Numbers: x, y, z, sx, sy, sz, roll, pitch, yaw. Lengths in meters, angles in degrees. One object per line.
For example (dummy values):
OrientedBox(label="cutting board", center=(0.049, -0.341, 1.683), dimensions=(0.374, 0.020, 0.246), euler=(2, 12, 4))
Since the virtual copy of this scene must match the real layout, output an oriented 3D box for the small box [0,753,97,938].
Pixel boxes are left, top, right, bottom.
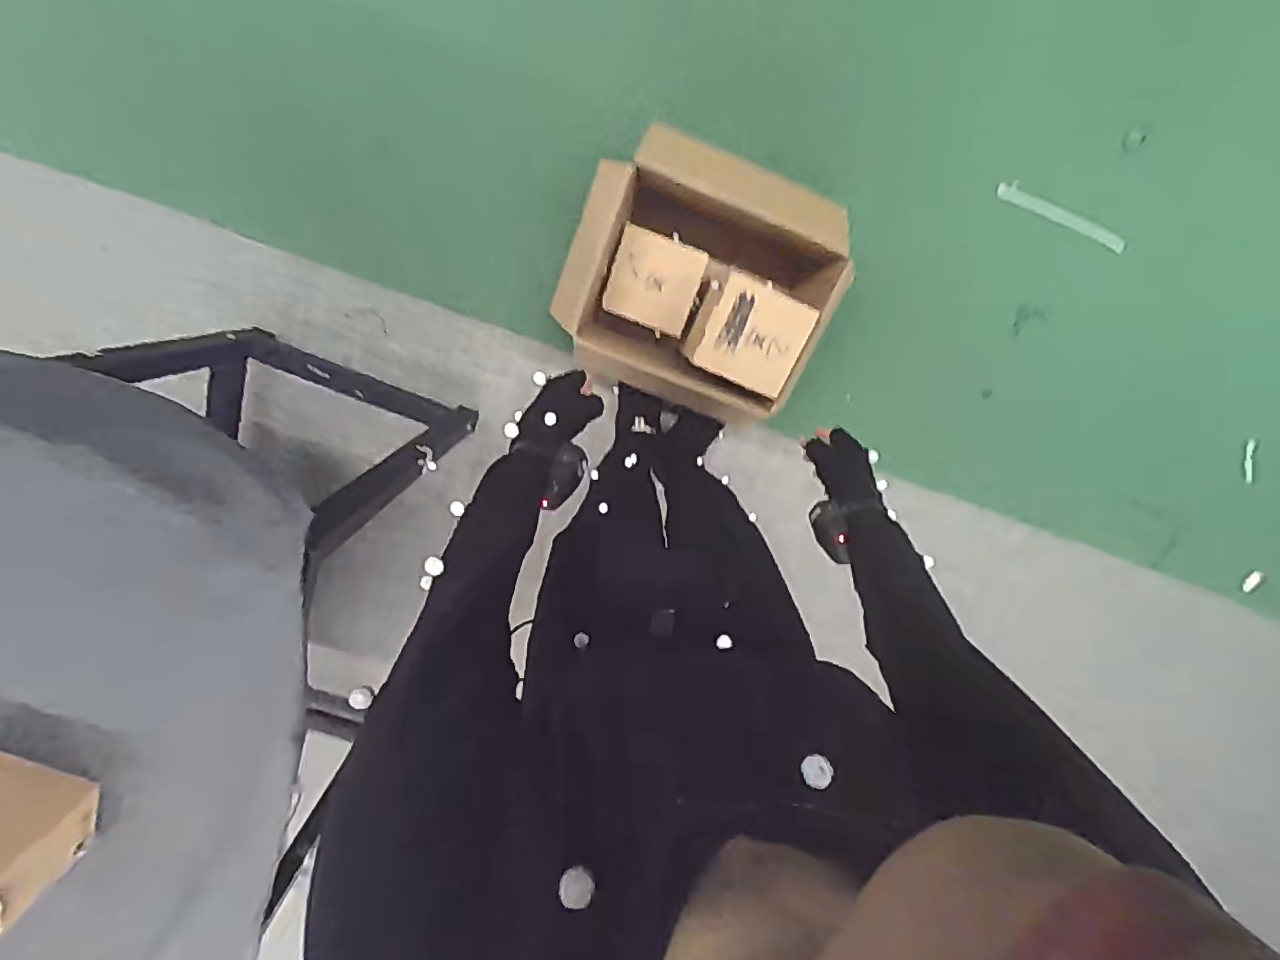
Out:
OrientedBox(label="small box", center=(-0.981, 0.550, 0.812), dimensions=(0.179, 0.176, 0.168), euler=(25, 110, -6))
